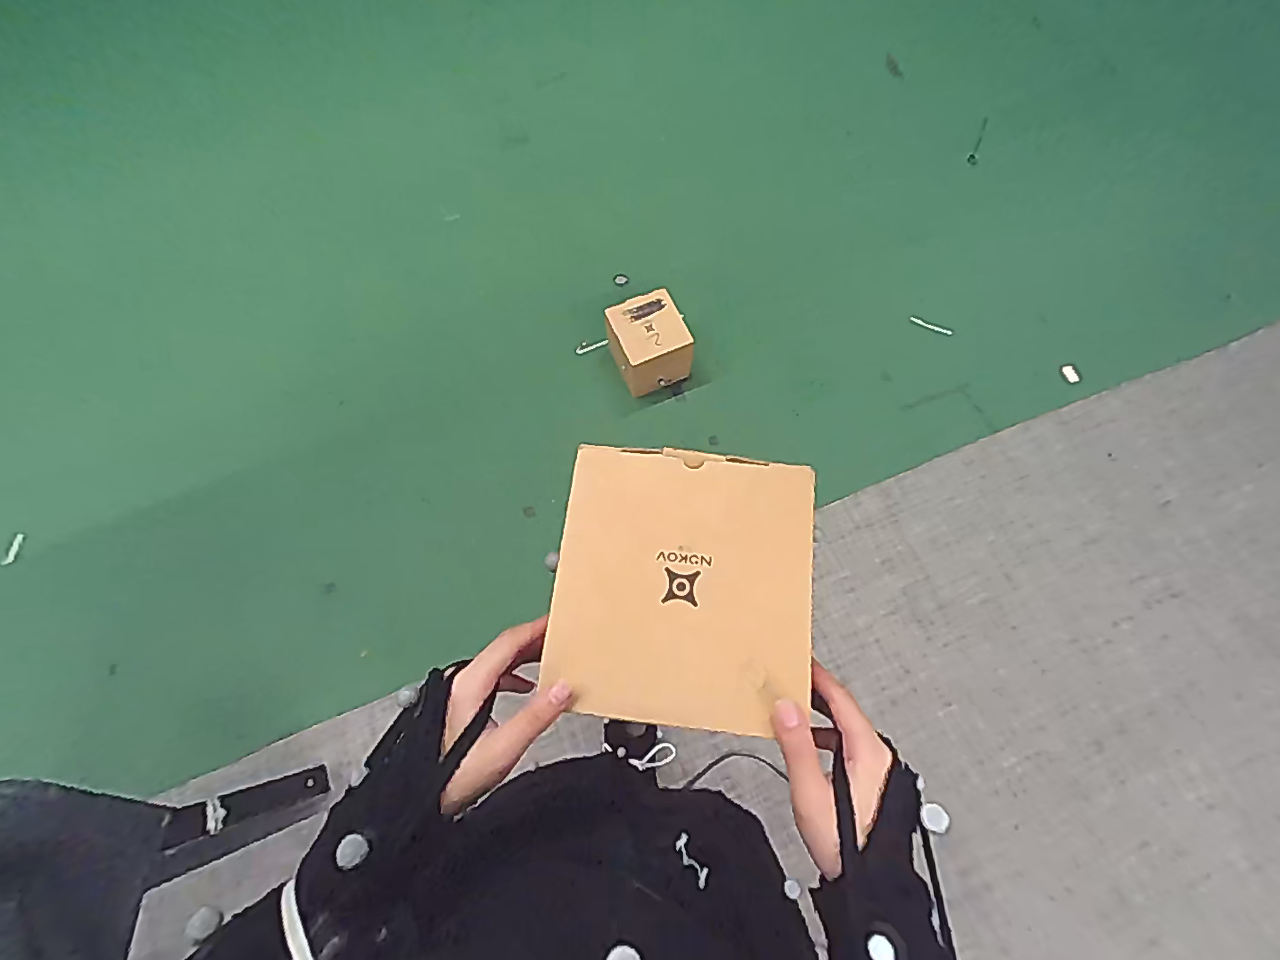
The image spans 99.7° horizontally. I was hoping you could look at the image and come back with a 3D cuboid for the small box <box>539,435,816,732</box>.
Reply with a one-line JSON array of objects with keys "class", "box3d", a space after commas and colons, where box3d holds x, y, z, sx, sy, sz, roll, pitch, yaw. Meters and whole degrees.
[{"class": "small box", "box3d": [0.032, 0.083, 0.422, 0.168, 0.176, 0.179, 6, 71, 4]}]
